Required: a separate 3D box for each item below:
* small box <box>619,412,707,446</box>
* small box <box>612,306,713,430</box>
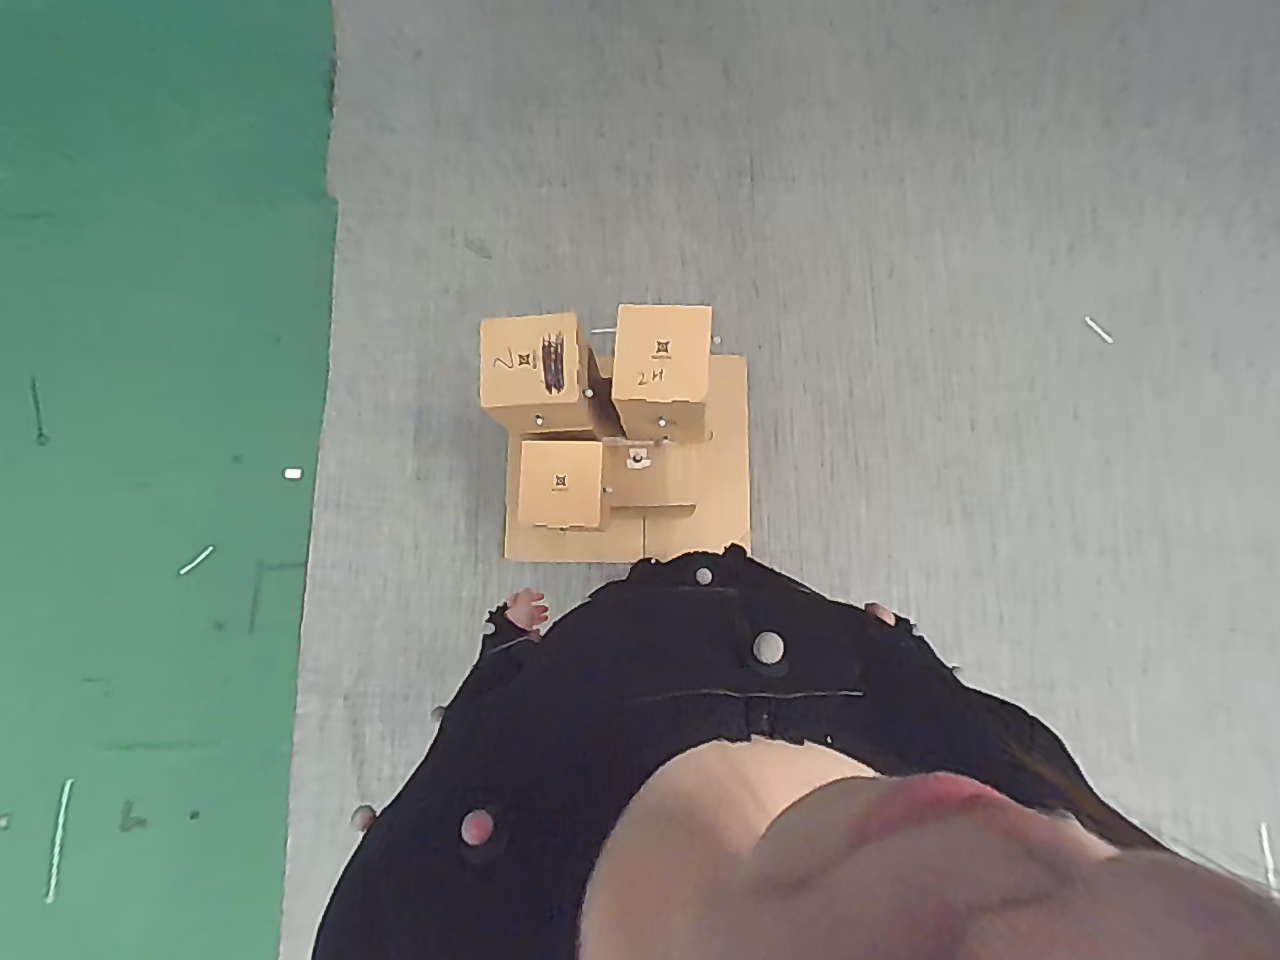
[{"bbox_3d":[0.055,-0.172,1.168,0.179,0.176,0.168,2,81,5],"label":"small box"},{"bbox_3d":[0.045,-0.201,1.004,0.168,0.176,0.179,3,81,6],"label":"small box"}]
